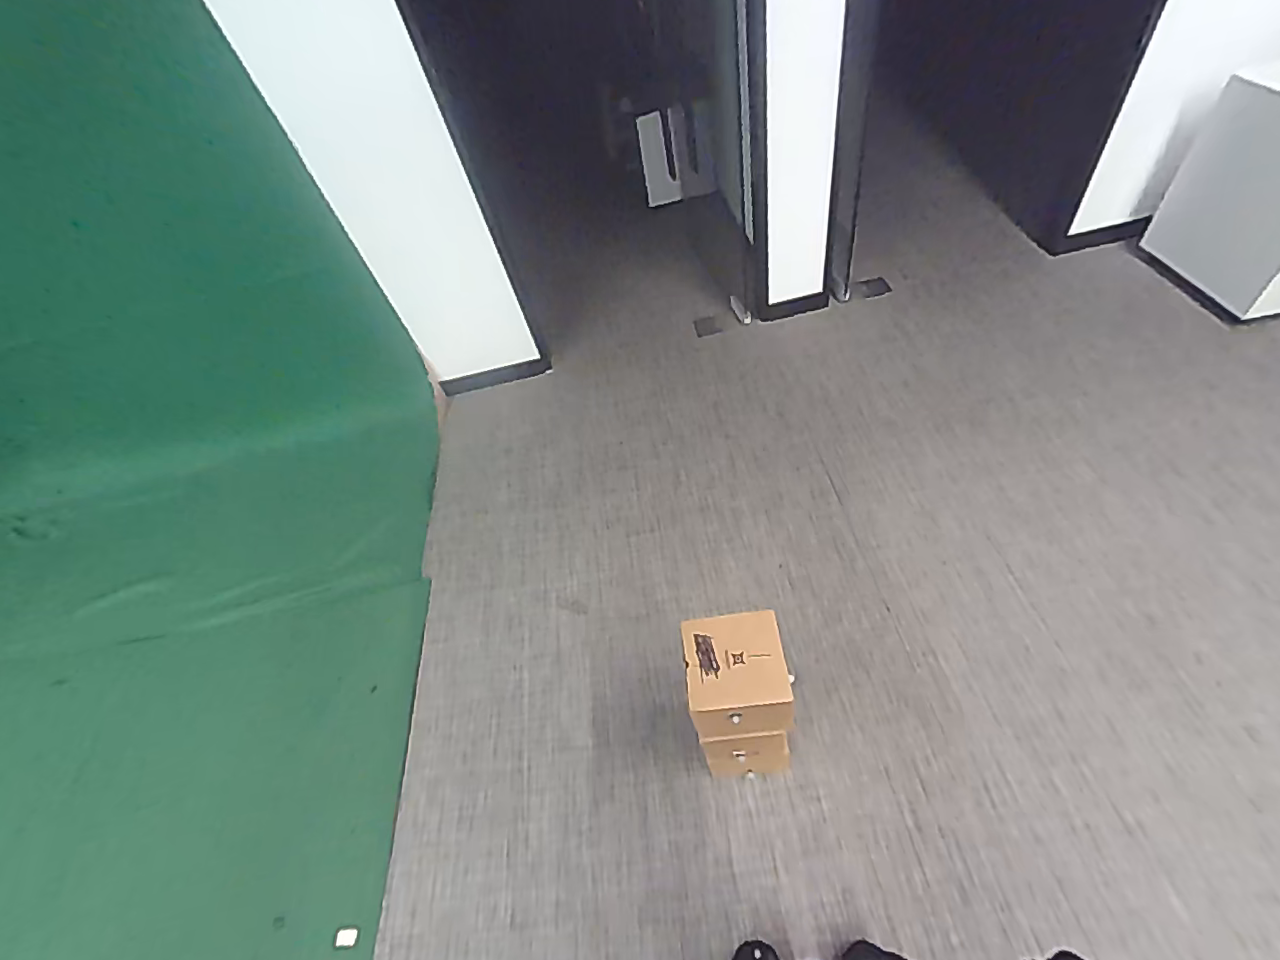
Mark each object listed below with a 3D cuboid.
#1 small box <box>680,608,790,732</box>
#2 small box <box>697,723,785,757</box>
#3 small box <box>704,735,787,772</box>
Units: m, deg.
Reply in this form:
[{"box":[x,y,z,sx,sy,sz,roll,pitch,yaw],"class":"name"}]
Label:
[{"box":[0.178,0.361,1.013,0.179,0.176,0.168,-9,50,8],"class":"small box"},{"box":[0.204,0.465,1.138,0.168,0.176,0.179,-10,51,8],"class":"small box"},{"box":[0.236,0.570,1.258,0.179,0.176,0.168,-8,50,7],"class":"small box"}]
